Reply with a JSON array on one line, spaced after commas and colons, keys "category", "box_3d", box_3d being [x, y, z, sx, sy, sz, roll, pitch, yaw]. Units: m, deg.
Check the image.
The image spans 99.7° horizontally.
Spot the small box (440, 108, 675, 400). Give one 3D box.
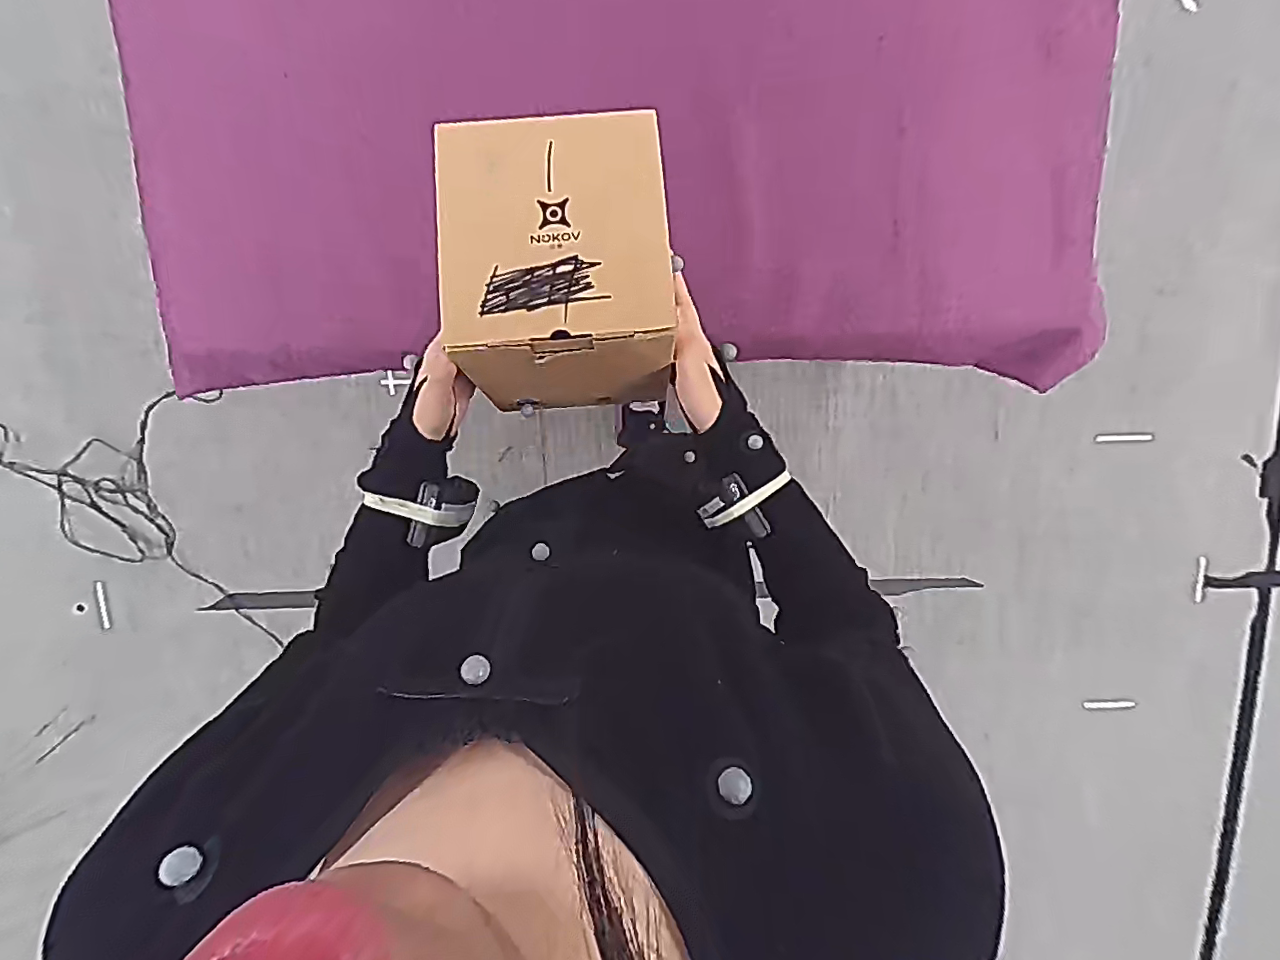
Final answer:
[{"category": "small box", "box_3d": [-0.061, -0.173, 0.467, 0.168, 0.176, 0.179, -5, 81, -1]}]
